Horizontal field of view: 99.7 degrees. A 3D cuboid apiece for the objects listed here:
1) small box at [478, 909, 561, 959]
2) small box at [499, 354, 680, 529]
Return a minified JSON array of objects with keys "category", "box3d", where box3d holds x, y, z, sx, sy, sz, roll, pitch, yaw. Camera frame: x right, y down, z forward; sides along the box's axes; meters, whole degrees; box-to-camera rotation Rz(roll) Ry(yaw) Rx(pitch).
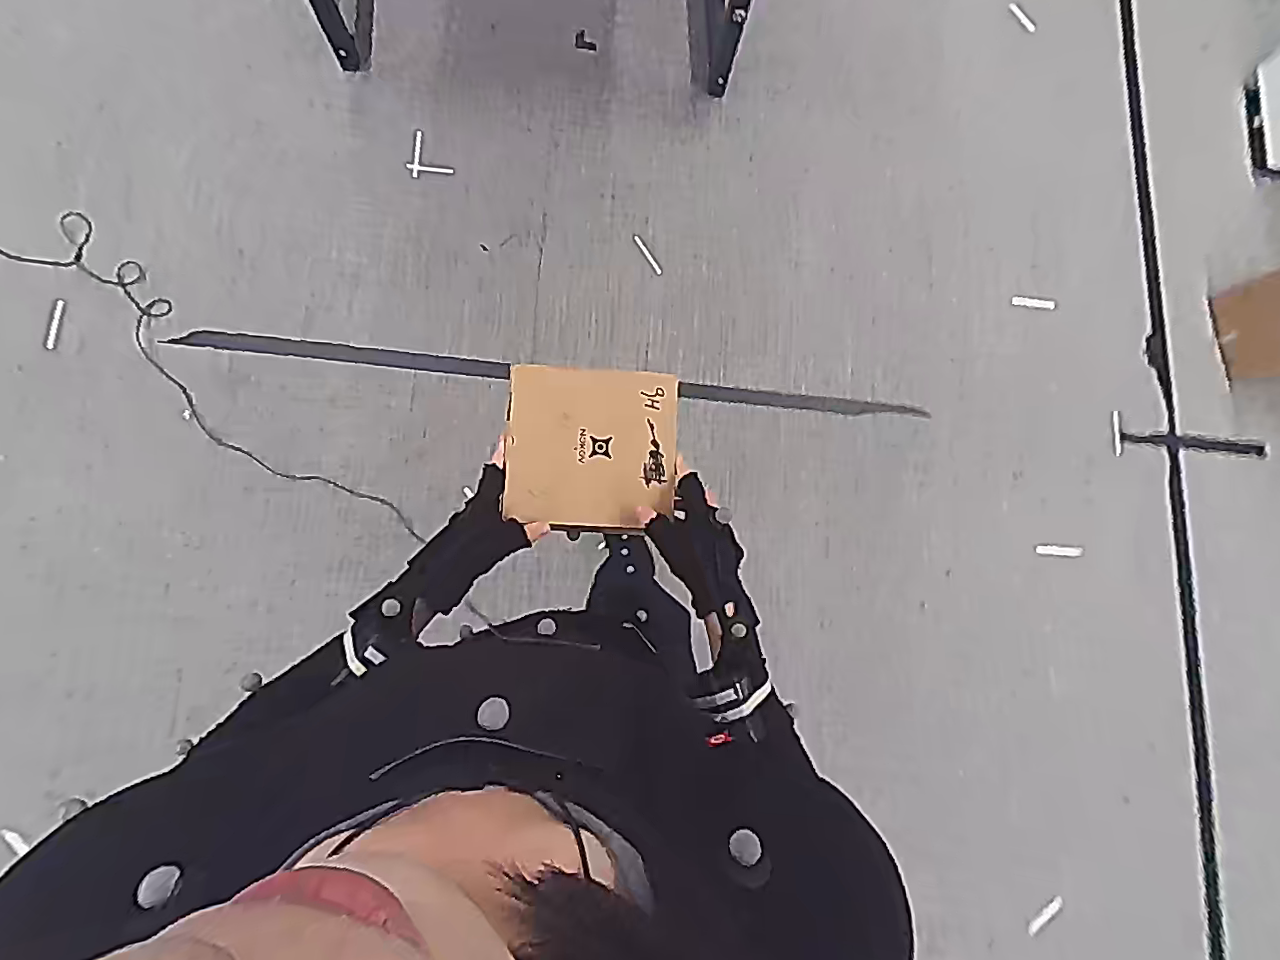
[{"category":"small box","box3d":[-0.278,1.156,1.267,0.179,0.176,0.168,-3,82,-8]},{"category":"small box","box3d":[-0.055,-0.032,0.622,0.179,0.176,0.168,3,82,-5]}]
